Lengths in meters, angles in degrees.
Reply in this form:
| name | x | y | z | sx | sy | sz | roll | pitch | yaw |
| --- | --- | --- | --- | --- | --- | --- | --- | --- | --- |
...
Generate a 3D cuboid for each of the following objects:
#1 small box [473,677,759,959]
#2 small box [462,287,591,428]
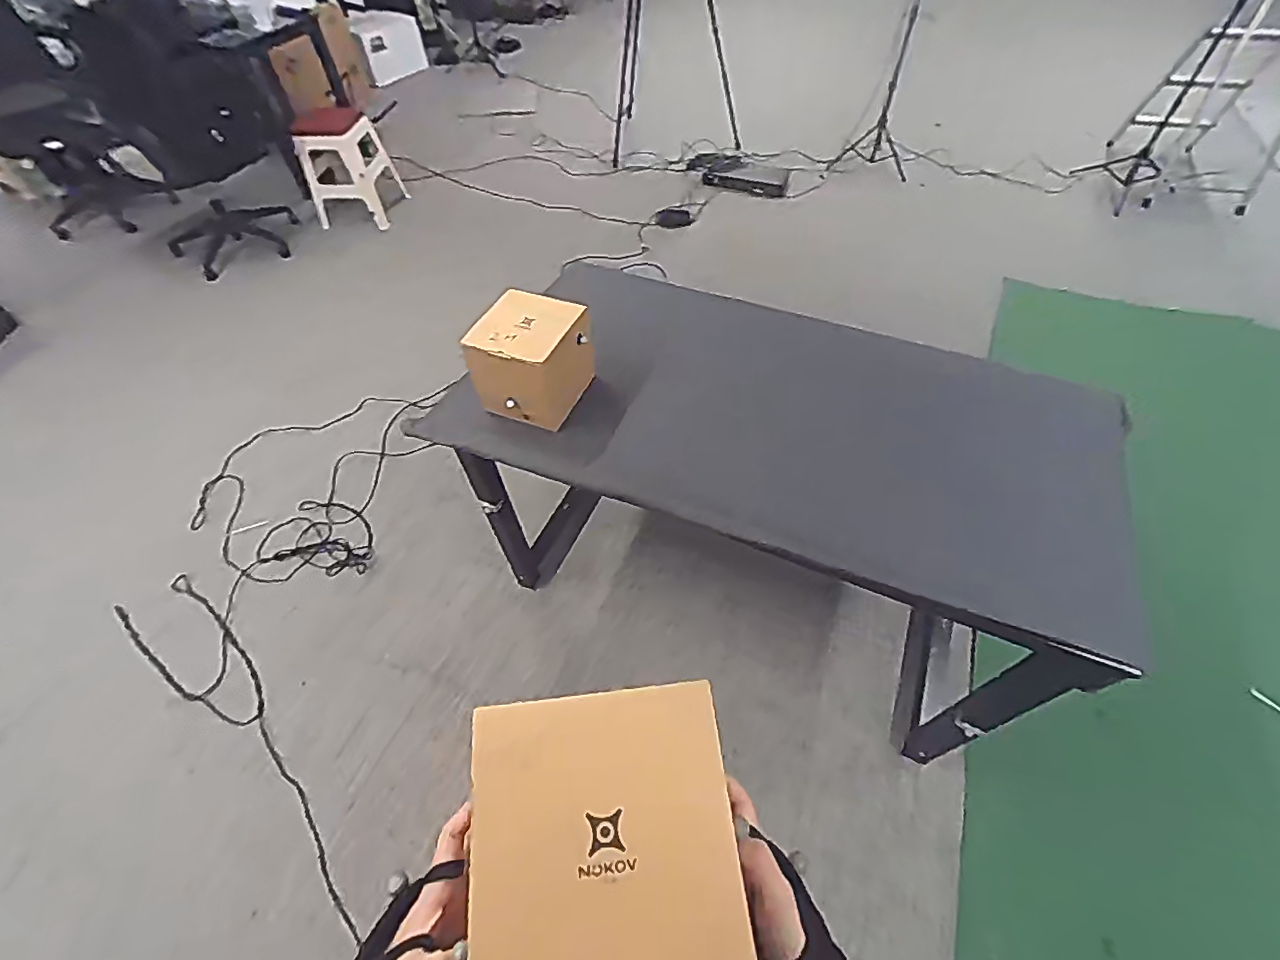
| name | x | y | z | sx | sy | sz | roll | pitch | yaw |
| --- | --- | --- | --- | --- | --- | --- | --- | --- | --- |
| small box | -0.026 | 0.258 | 0.405 | 0.168 | 0.176 | 0.179 | -4 | 63 | -7 |
| small box | -0.201 | -0.230 | 1.019 | 0.168 | 0.176 | 0.179 | 18 | 55 | 14 |
